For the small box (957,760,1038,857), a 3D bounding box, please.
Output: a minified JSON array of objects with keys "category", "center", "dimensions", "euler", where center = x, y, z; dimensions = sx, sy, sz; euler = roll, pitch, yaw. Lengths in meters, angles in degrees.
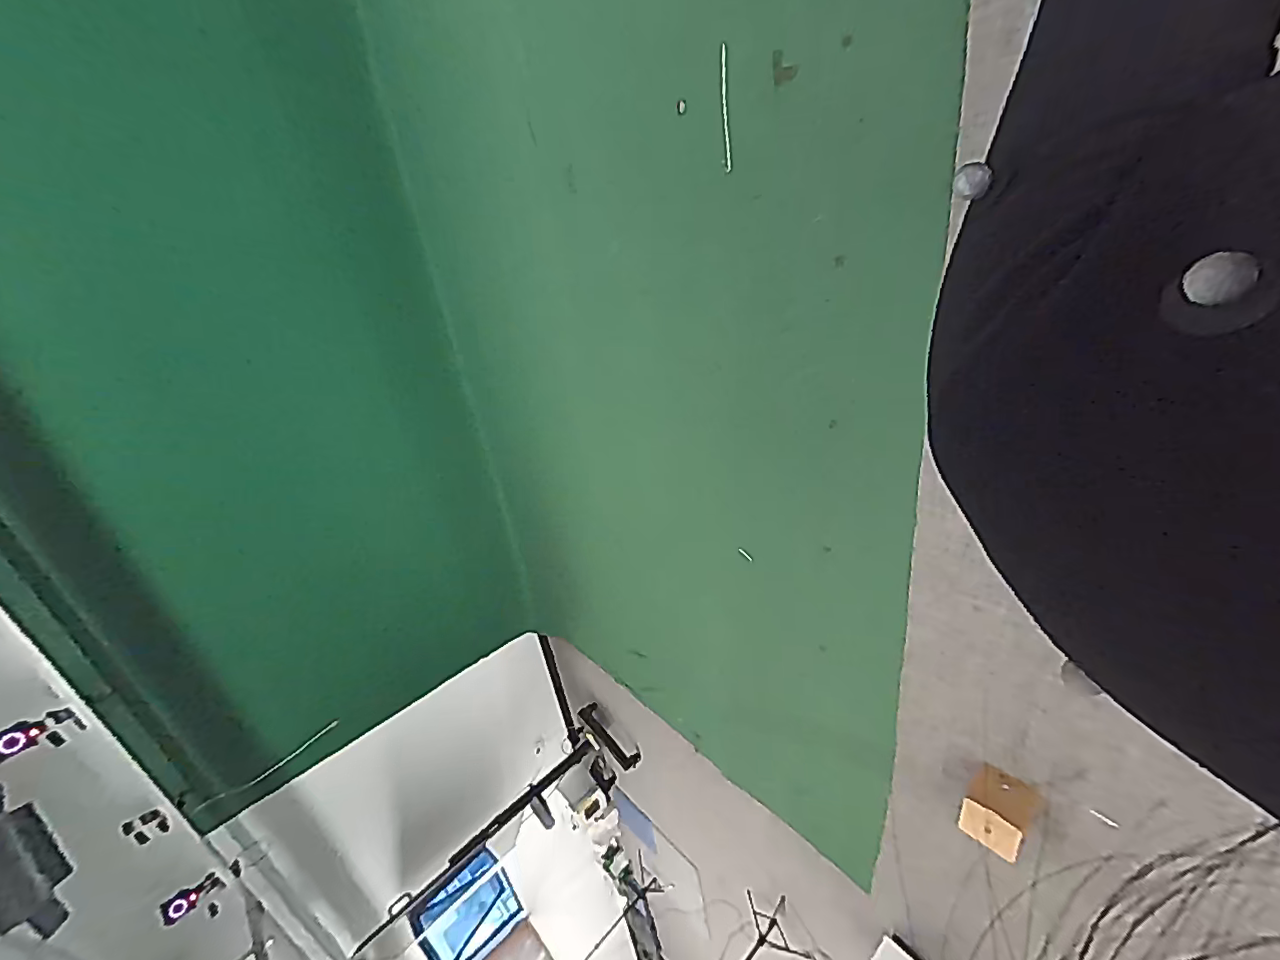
[{"category":"small box","center":[1.178,1.075,1.779],"dimensions":[0.168,0.176,0.179],"euler":[22,129,44]}]
